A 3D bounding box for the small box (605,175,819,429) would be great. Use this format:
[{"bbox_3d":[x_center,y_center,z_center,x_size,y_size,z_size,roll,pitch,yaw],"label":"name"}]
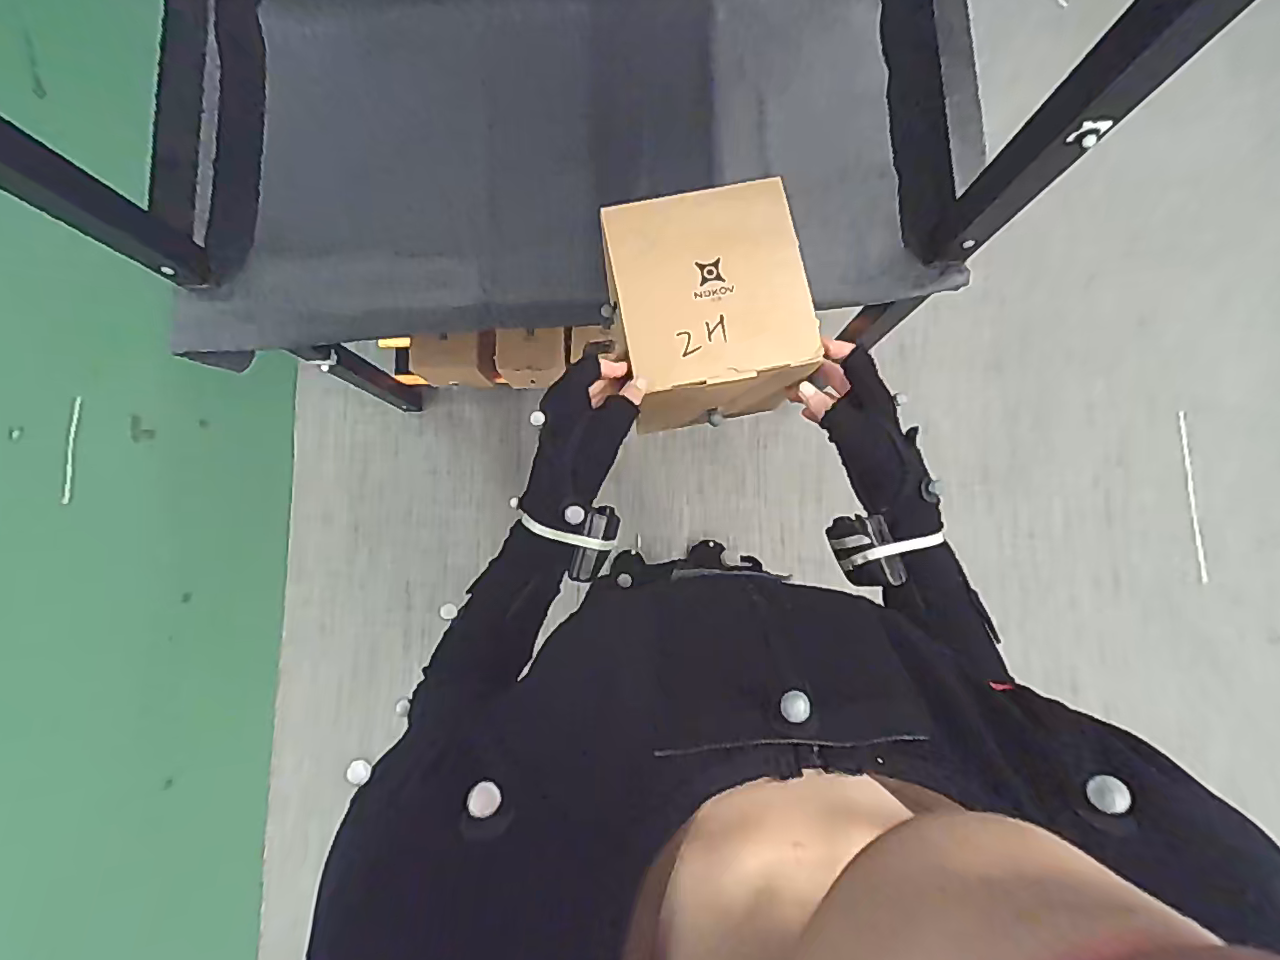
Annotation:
[{"bbox_3d":[0.061,-0.169,0.557,0.168,0.176,0.179,-11,80,-1],"label":"small box"}]
